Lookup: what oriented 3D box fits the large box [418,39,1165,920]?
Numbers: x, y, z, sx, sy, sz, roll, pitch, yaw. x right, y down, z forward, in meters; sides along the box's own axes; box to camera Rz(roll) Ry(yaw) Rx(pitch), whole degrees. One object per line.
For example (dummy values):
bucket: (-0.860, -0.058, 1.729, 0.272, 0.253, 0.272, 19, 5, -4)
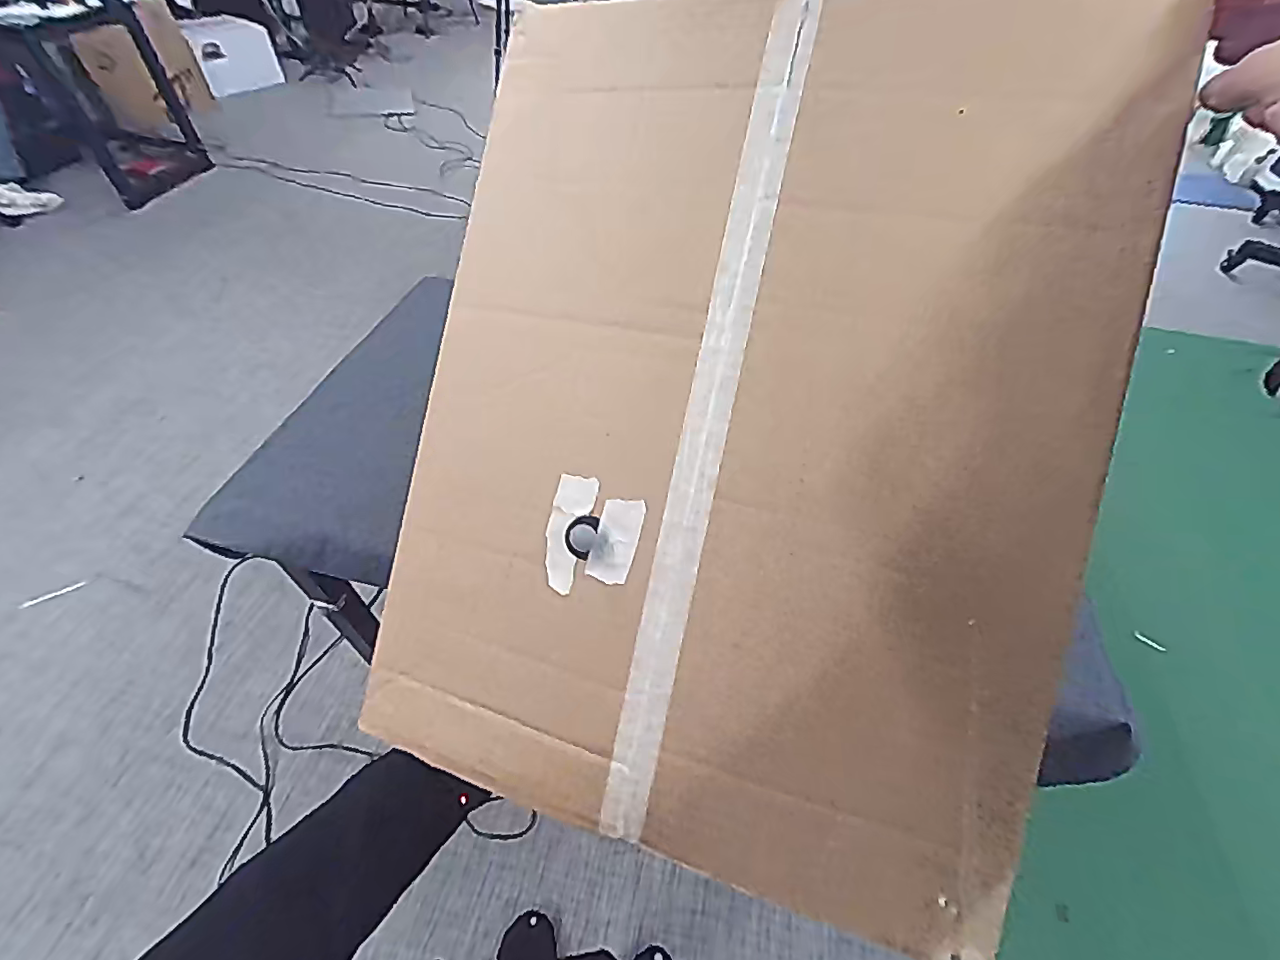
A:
large box: (0.085, -0.021, 0.418, 0.320, 0.320, 0.408, 12, 92, 16)
